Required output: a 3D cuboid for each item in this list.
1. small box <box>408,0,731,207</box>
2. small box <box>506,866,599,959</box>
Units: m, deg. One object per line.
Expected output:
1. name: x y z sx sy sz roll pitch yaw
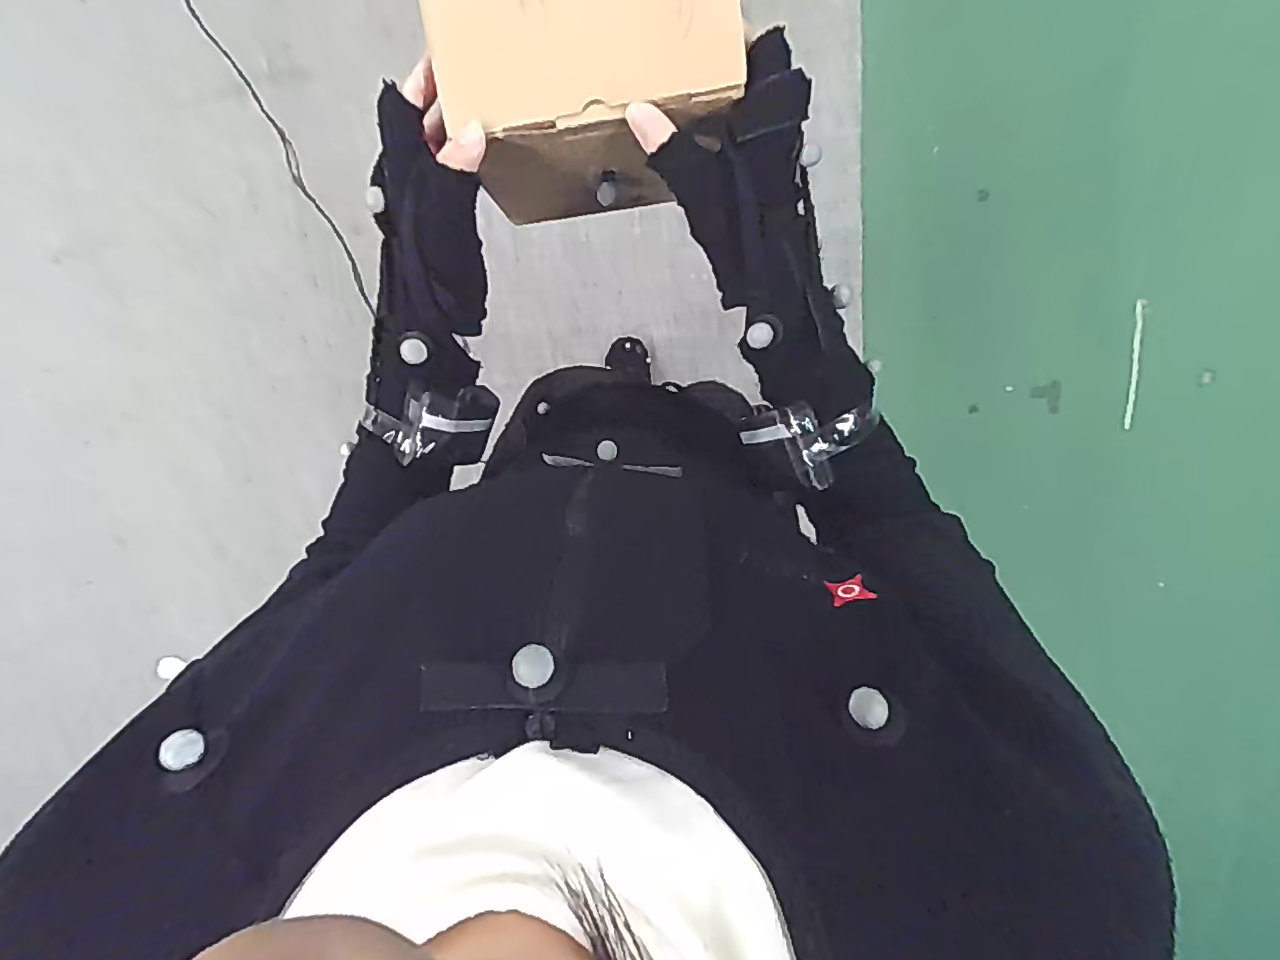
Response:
1. small box: -0.041 -0.293 0.350 0.168 0.176 0.179 -8 102 2
2. small box: -0.197 1.057 1.282 0.179 0.176 0.168 -10 101 5
